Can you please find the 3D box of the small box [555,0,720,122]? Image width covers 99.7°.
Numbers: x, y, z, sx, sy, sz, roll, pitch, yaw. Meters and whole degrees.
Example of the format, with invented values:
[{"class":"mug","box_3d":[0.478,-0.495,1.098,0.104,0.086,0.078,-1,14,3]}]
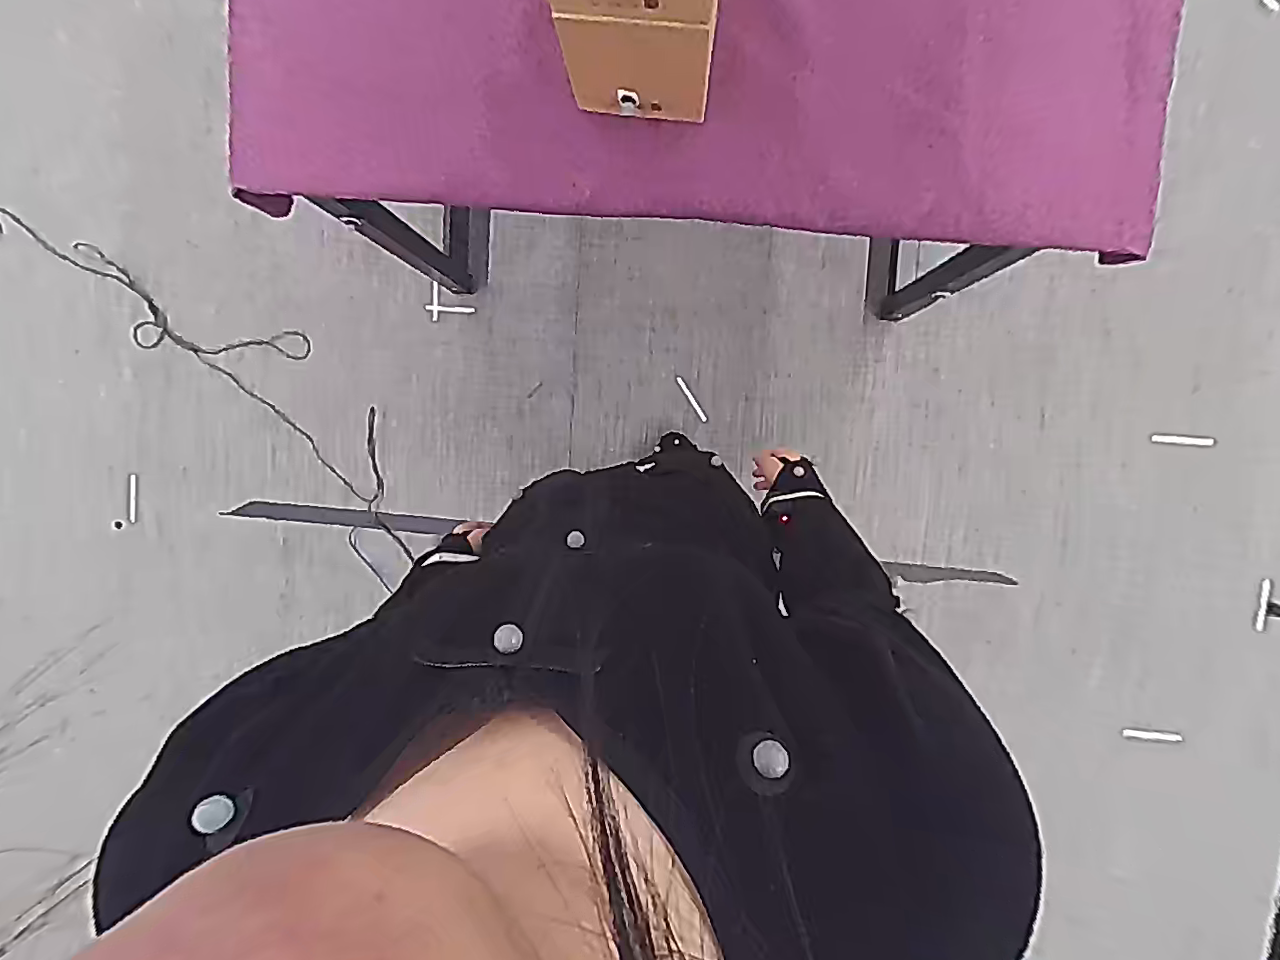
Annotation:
[{"class":"small box","box_3d":[0.008,-0.555,0.619,0.168,0.176,0.179,7,95,3]}]
